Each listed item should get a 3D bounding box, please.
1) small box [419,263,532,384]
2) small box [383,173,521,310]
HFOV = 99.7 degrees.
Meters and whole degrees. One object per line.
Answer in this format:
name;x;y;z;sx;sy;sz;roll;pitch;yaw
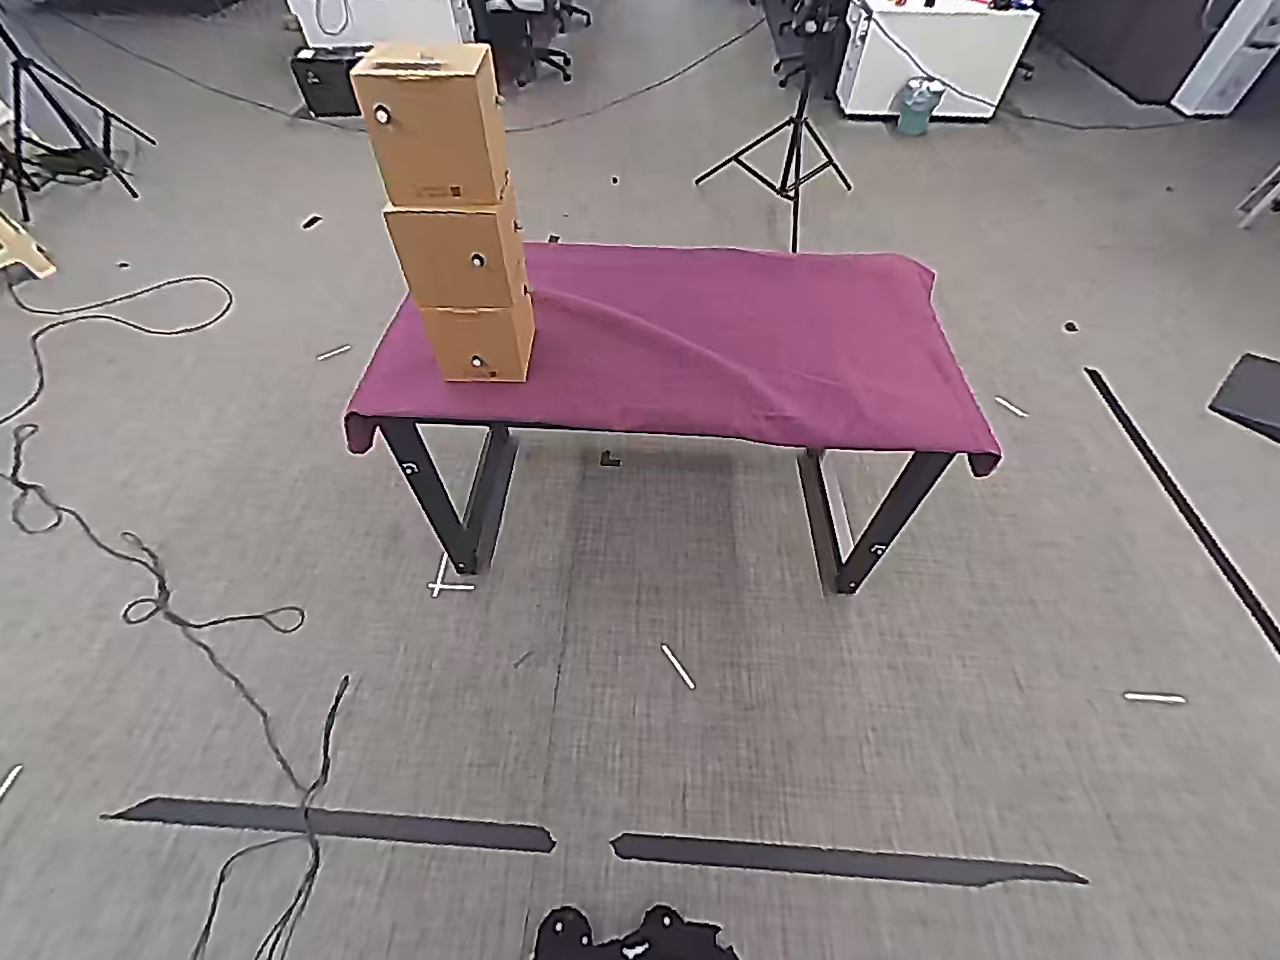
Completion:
small box;-0.313;-0.311;1.070;0.168;0.176;0.179;0;52;-1
small box;-0.311;-0.412;0.943;0.179;0.176;0.168;-1;50;-1
